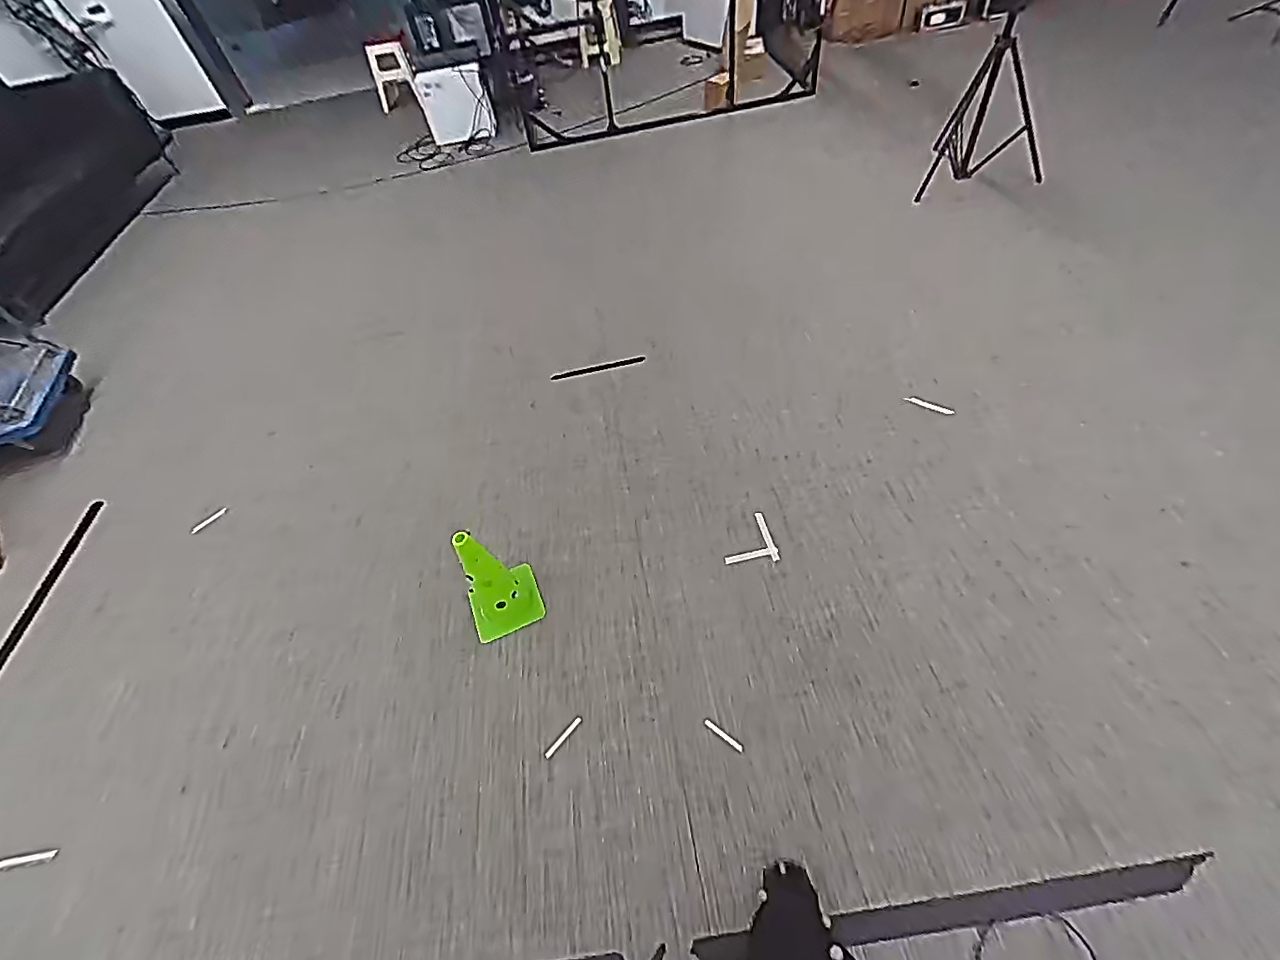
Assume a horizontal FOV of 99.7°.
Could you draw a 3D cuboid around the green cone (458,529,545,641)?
[{"bbox_3d":[-0.415,0.253,1.467,0.202,0.368,0.200,-23,52,-10],"label":"green cone"}]
